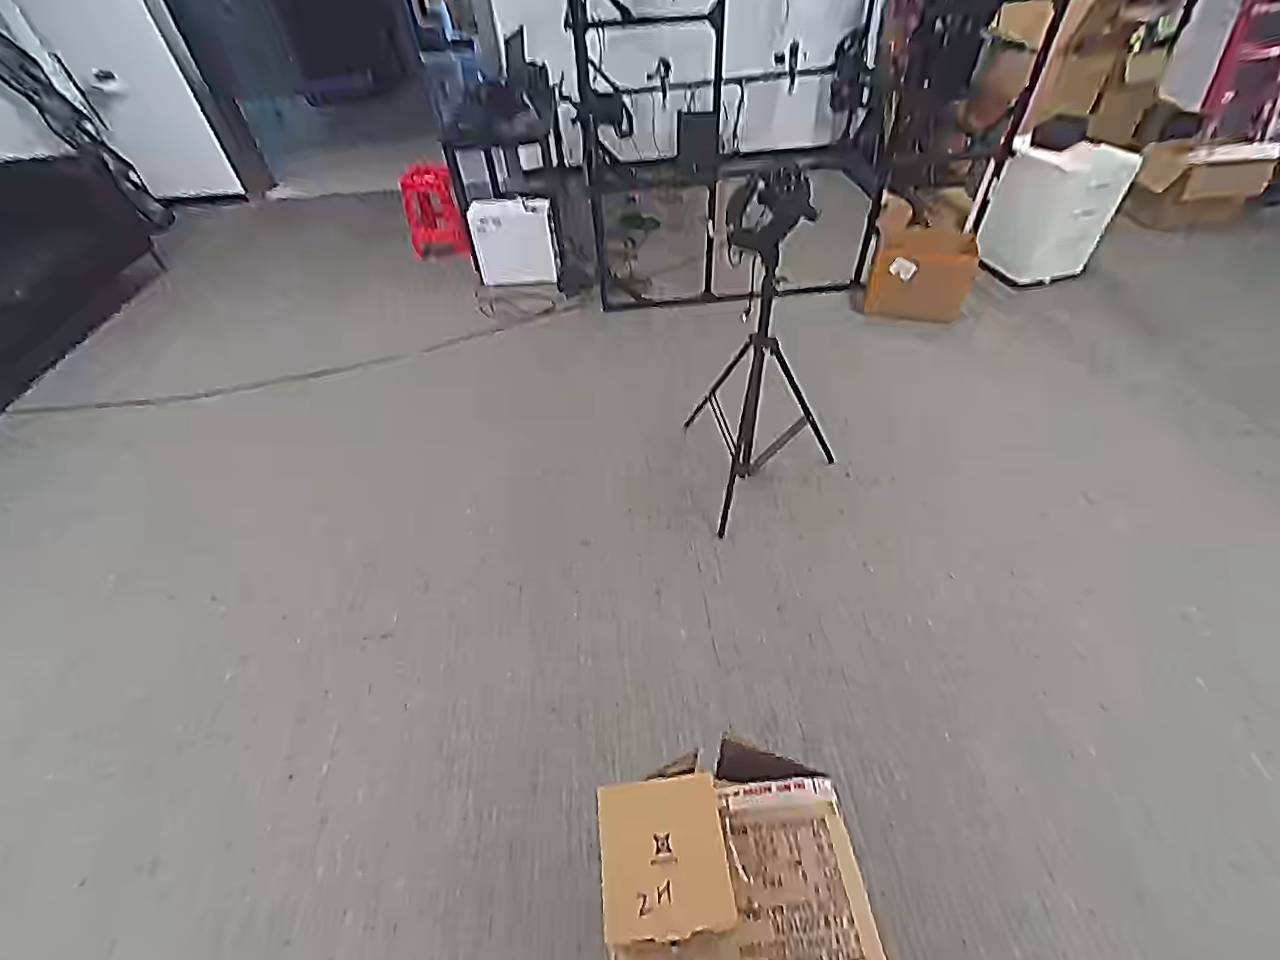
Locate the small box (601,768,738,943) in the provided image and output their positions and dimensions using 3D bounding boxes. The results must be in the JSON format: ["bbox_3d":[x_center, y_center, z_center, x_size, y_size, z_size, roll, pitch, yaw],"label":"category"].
[{"bbox_3d":[0.038,0.540,0.776,0.168,0.176,0.179,-8,49,-1],"label":"small box"}]
